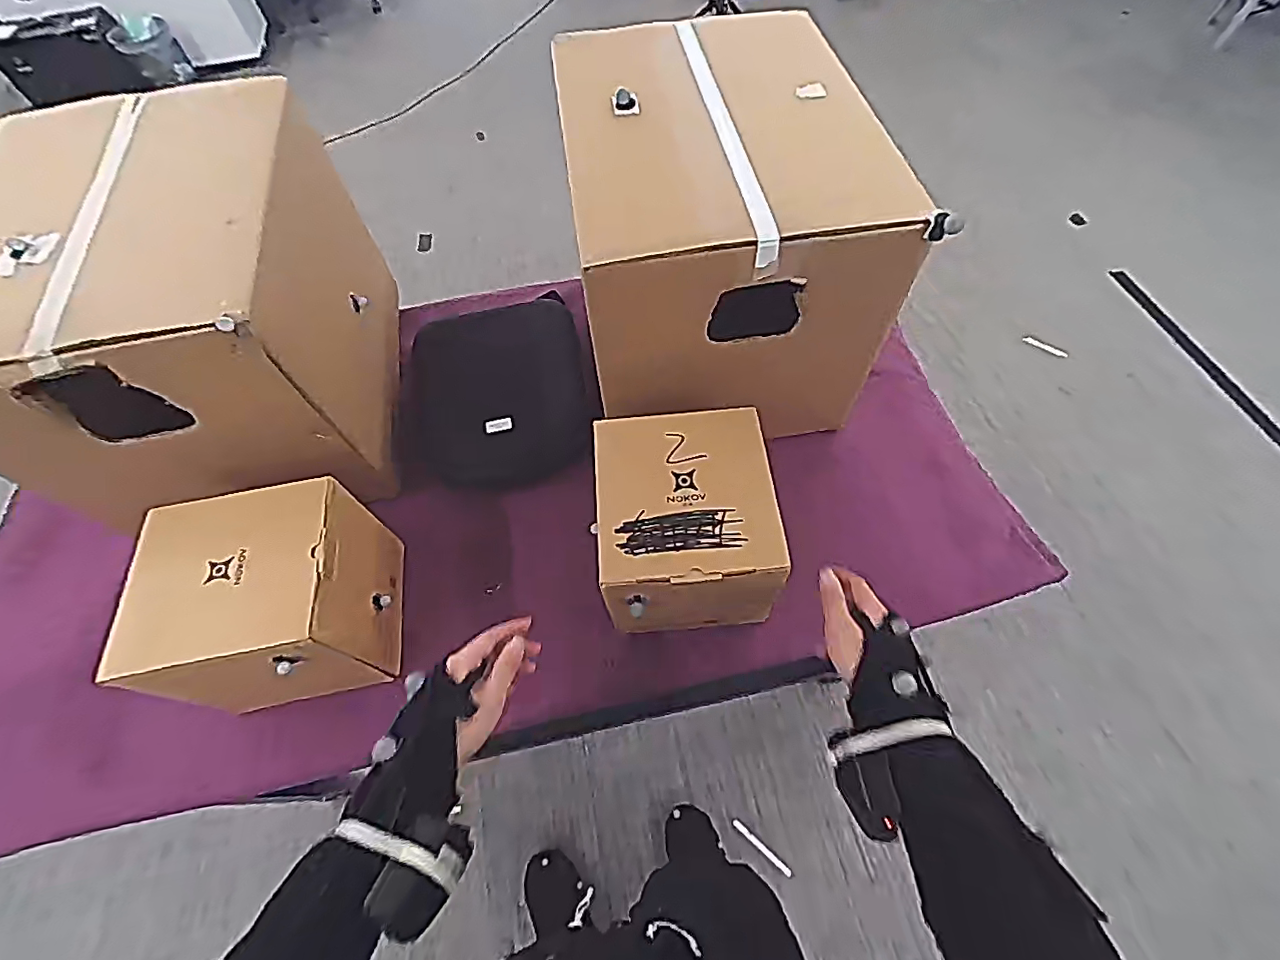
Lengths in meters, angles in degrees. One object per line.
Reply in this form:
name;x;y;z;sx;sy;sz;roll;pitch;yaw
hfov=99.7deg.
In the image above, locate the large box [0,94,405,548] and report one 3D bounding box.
large box;-0.508;-0.181;0.660;0.320;0.320;0.408;-14;63;-4
